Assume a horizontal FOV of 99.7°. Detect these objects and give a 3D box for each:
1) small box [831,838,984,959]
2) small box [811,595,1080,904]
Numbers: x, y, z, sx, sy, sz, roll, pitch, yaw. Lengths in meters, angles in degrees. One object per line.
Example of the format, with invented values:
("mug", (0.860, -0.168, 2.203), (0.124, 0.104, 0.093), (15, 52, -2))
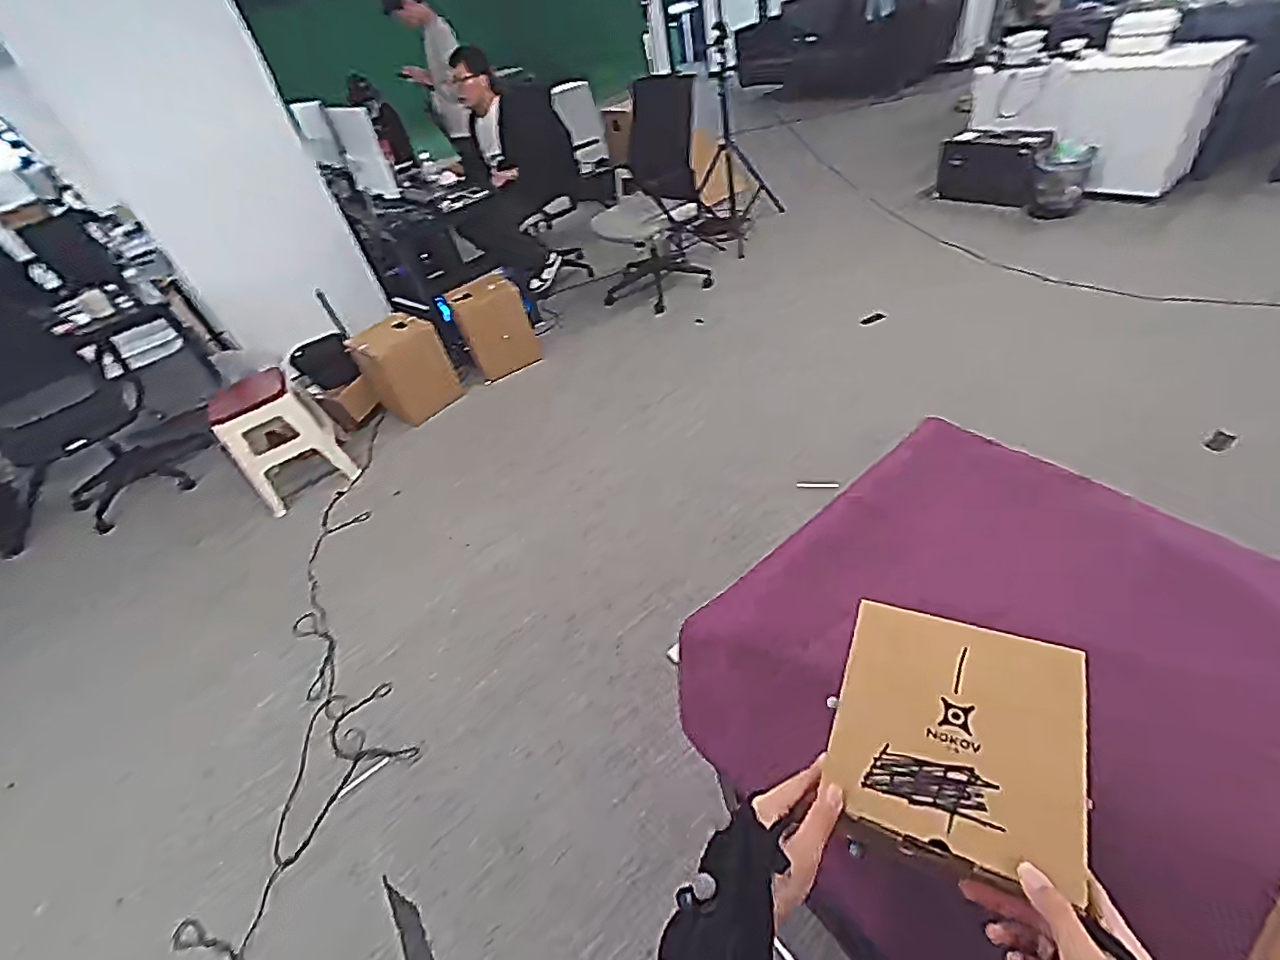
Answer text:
("small box", (0.447, 0.689, 0.915), (0.168, 0.176, 0.179), (-39, 46, -22))
("small box", (0.256, 0.233, 0.471), (0.168, 0.176, 0.179), (10, 55, 27))
